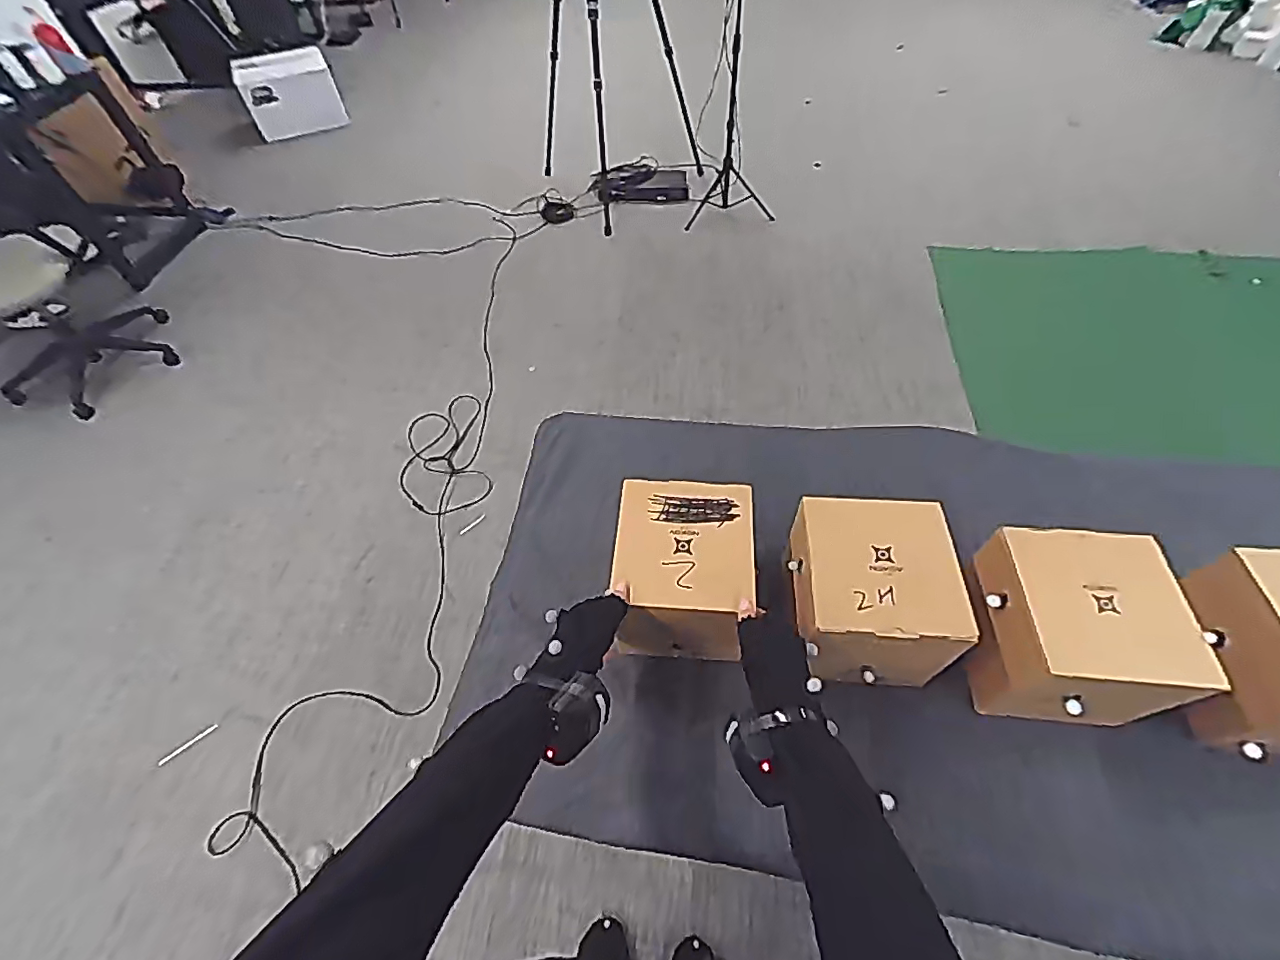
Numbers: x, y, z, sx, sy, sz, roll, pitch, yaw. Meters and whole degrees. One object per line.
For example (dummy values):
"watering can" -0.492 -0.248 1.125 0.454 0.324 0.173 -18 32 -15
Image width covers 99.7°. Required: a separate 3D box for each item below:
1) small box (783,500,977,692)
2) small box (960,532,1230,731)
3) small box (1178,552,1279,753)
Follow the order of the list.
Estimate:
"small box" 0.276 0.145 0.673 0.168 0.176 0.179 2 53 6
"small box" 0.494 0.181 0.635 0.168 0.176 0.179 3 53 6
"small box" 0.732 0.201 0.602 0.168 0.176 0.179 3 52 6
